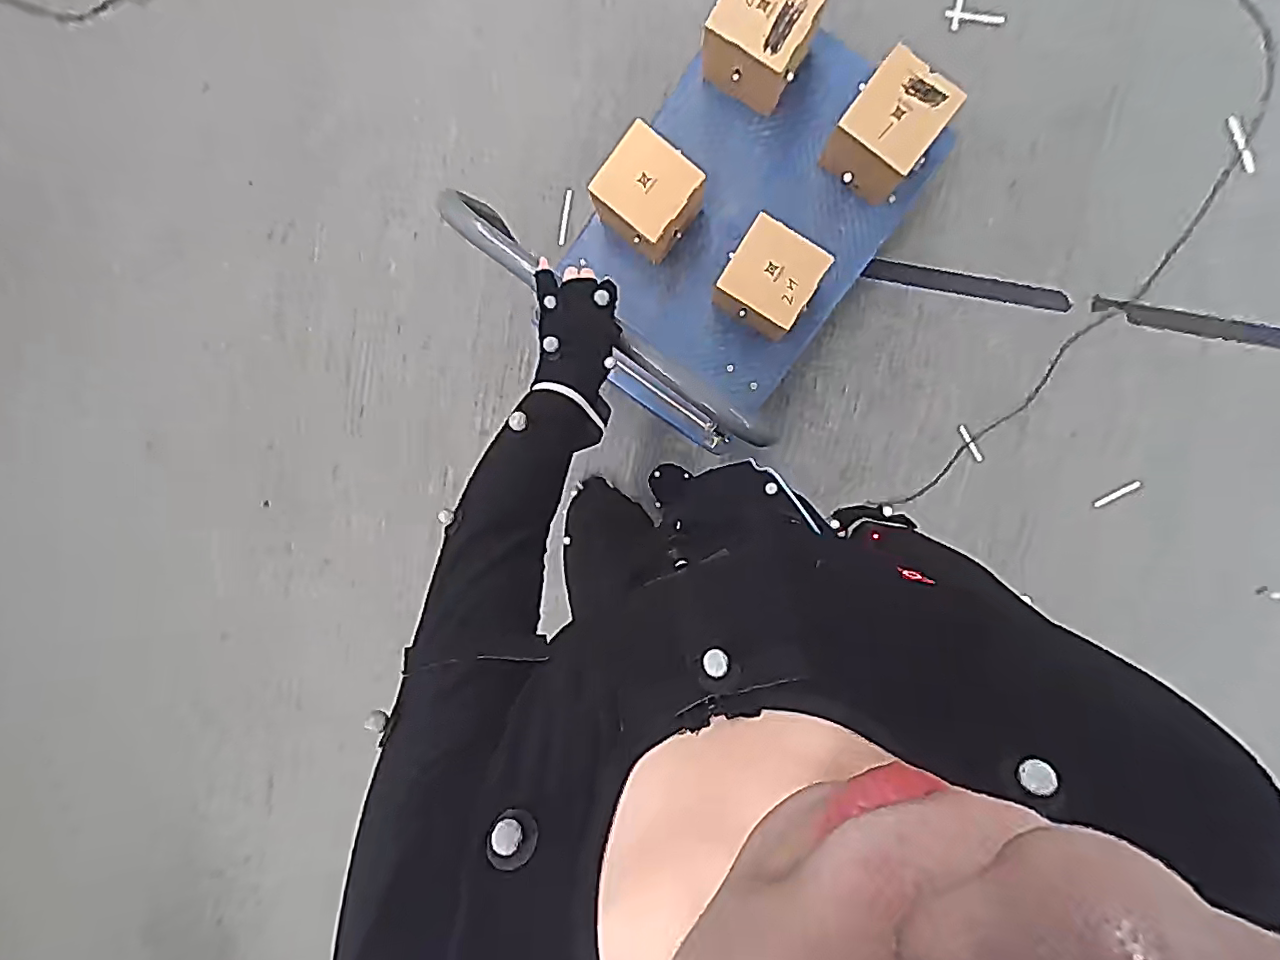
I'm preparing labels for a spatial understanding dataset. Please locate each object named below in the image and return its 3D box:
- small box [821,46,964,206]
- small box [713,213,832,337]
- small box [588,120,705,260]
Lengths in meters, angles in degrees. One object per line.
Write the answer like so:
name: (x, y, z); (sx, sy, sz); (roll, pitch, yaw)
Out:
small box: (0.496, -0.702, 1.095); (0.168, 0.176, 0.179); (38, 100, -1)
small box: (0.268, -0.421, 1.149); (0.179, 0.176, 0.168); (33, 99, -1)
small box: (0.015, -0.599, 1.145); (0.179, 0.176, 0.168); (39, 98, -3)
